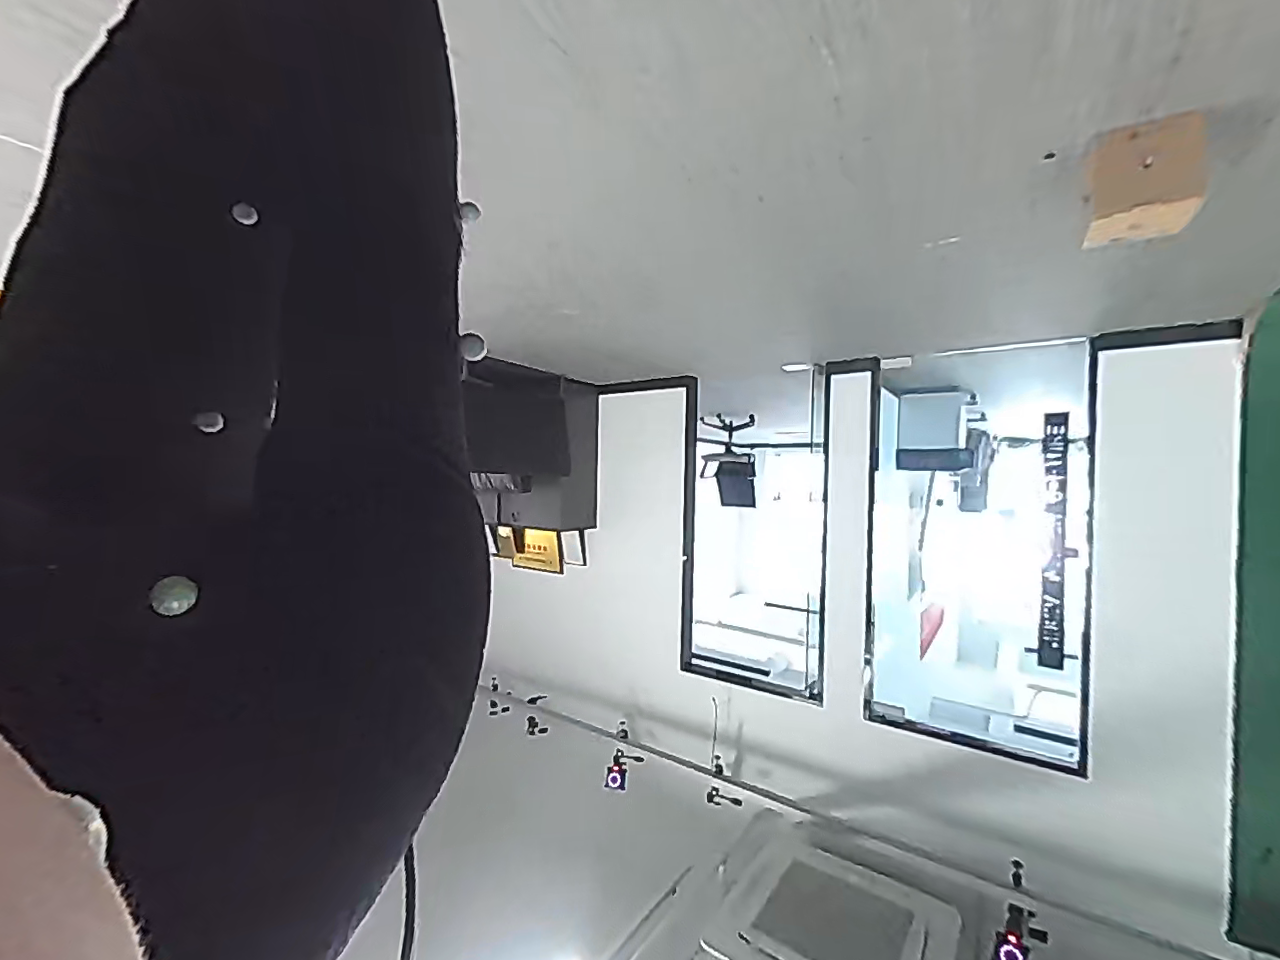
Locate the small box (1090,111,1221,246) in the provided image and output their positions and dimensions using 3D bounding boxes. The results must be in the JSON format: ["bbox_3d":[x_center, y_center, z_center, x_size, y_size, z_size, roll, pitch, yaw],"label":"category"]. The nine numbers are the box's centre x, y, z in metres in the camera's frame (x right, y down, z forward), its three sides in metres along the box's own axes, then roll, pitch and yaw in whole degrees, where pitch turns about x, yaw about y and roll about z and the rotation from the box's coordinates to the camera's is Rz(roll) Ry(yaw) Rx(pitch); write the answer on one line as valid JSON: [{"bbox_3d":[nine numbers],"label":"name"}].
[{"bbox_3d":[1.024,-0.604,1.088,0.168,0.176,0.179,1,180,33],"label":"small box"}]
